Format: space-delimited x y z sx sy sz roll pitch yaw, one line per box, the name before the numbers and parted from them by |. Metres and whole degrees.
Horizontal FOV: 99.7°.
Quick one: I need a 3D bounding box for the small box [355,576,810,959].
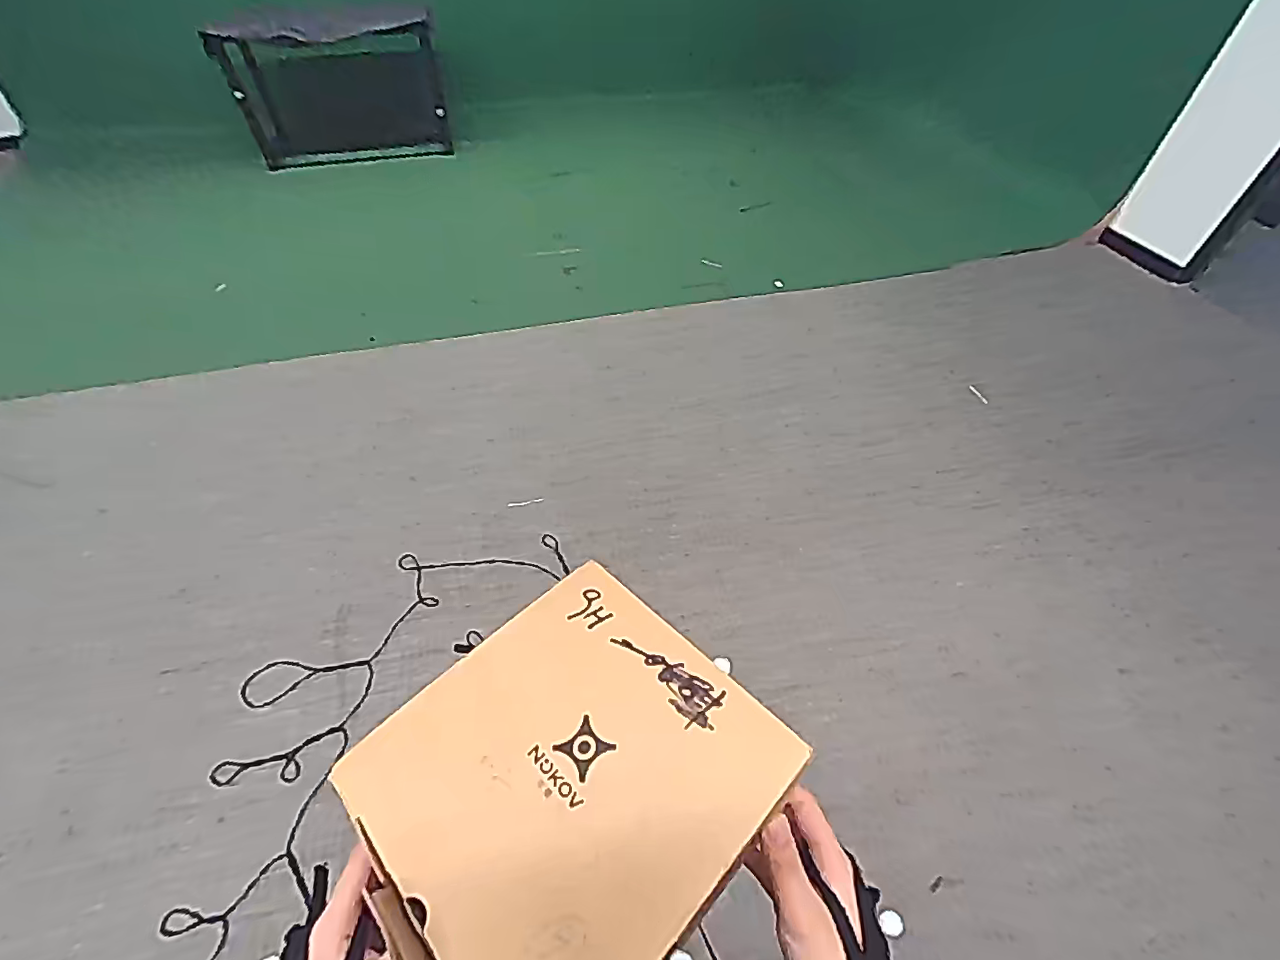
small box | -0.026 0.202 0.330 0.168 0.176 0.179 35 57 30
